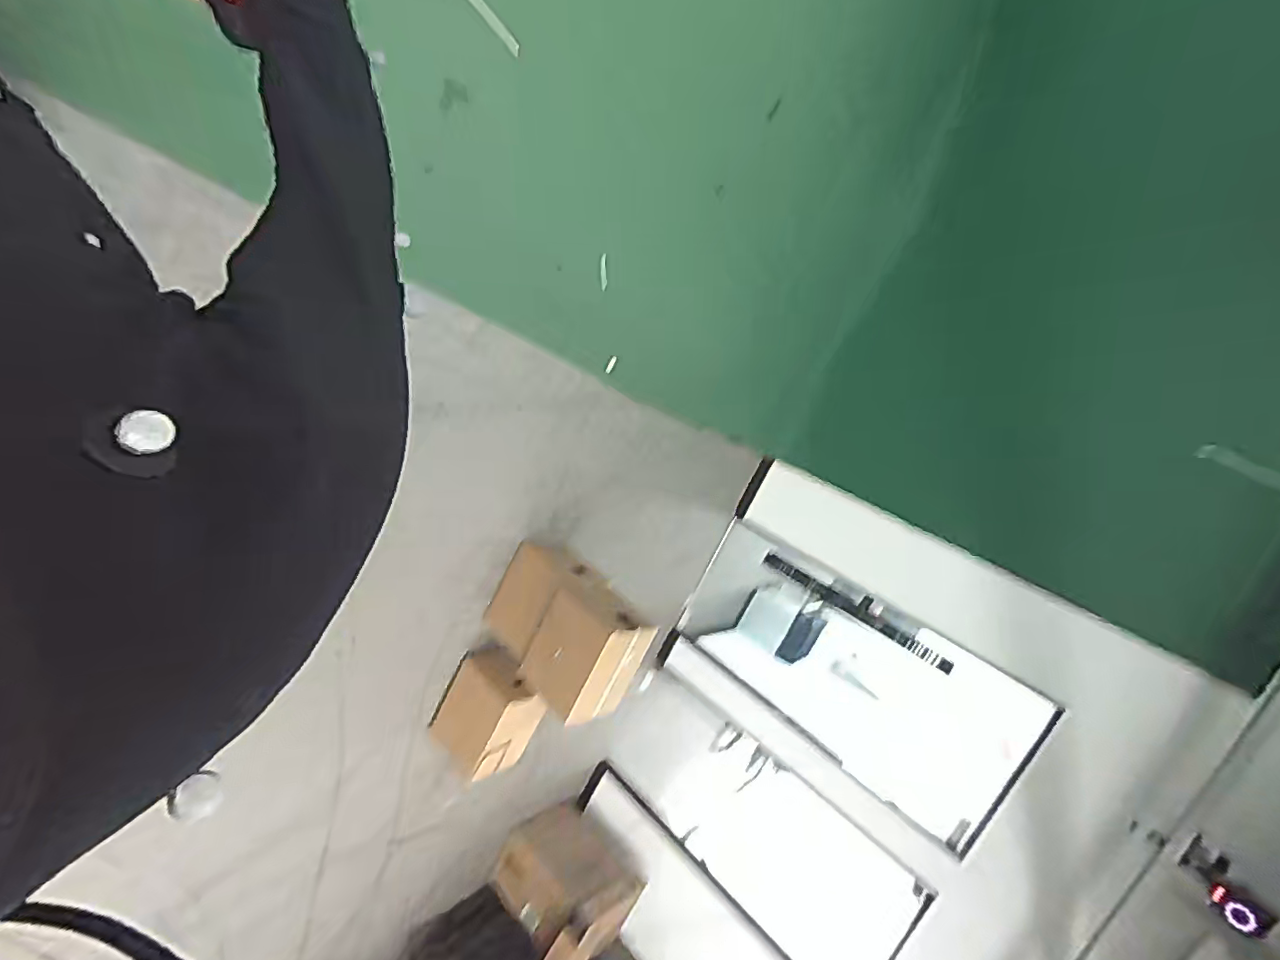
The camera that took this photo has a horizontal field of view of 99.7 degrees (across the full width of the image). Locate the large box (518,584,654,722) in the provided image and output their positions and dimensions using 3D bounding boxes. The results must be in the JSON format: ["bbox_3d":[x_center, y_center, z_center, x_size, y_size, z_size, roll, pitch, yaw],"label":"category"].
[{"bbox_3d":[-0.216,0.662,2.130,0.320,0.320,0.408,15,103,-54],"label":"large box"}]
